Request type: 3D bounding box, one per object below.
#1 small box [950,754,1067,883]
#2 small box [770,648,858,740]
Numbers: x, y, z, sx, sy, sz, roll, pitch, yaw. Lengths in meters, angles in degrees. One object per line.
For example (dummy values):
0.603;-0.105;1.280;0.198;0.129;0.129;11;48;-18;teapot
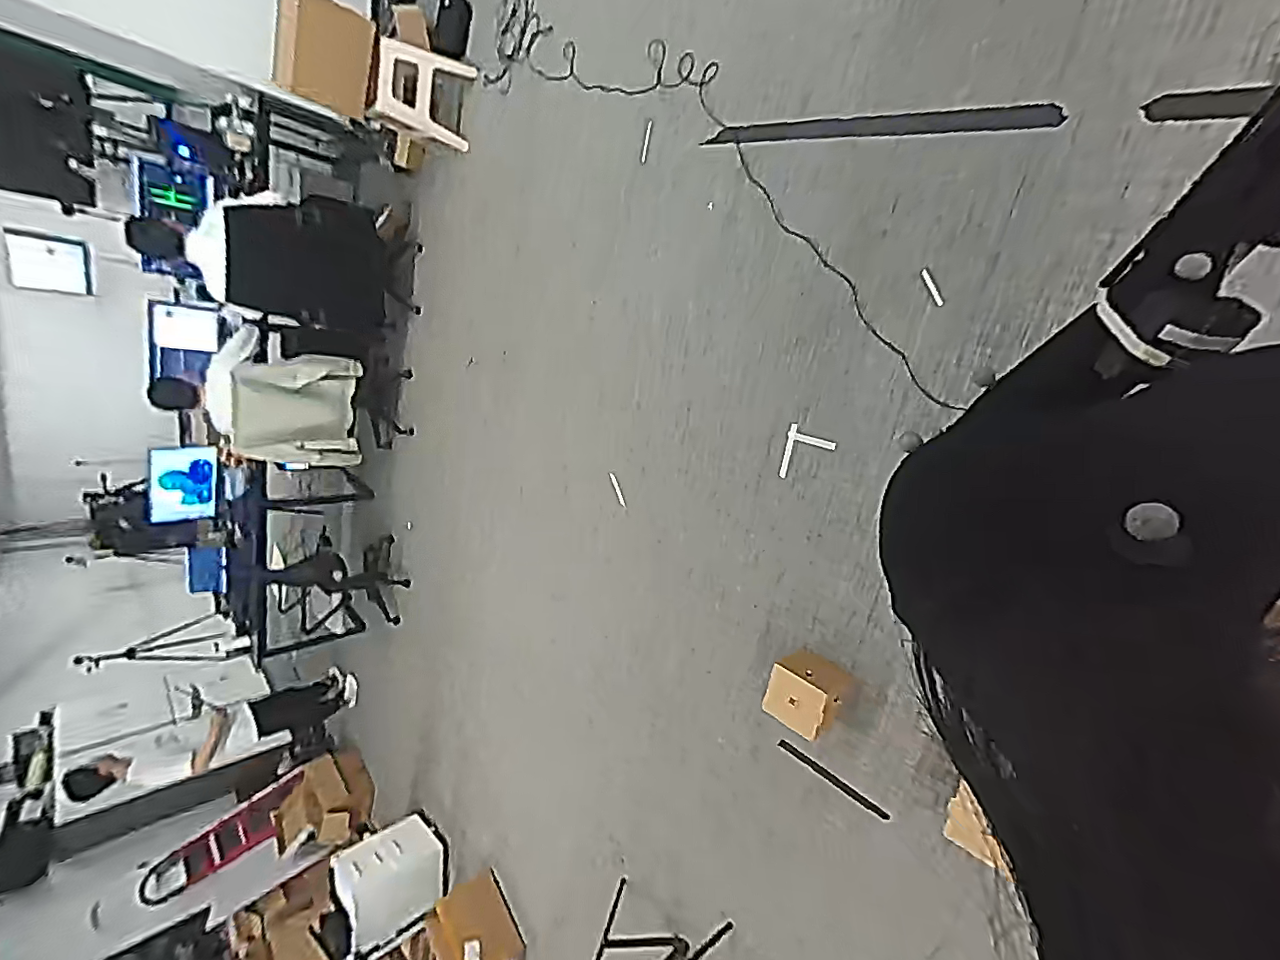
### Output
0.885;0.794;1.297;0.179;0.176;0.168;24;111;41;small box
0.528;0.633;1.628;0.179;0.176;0.168;24;109;41;small box
